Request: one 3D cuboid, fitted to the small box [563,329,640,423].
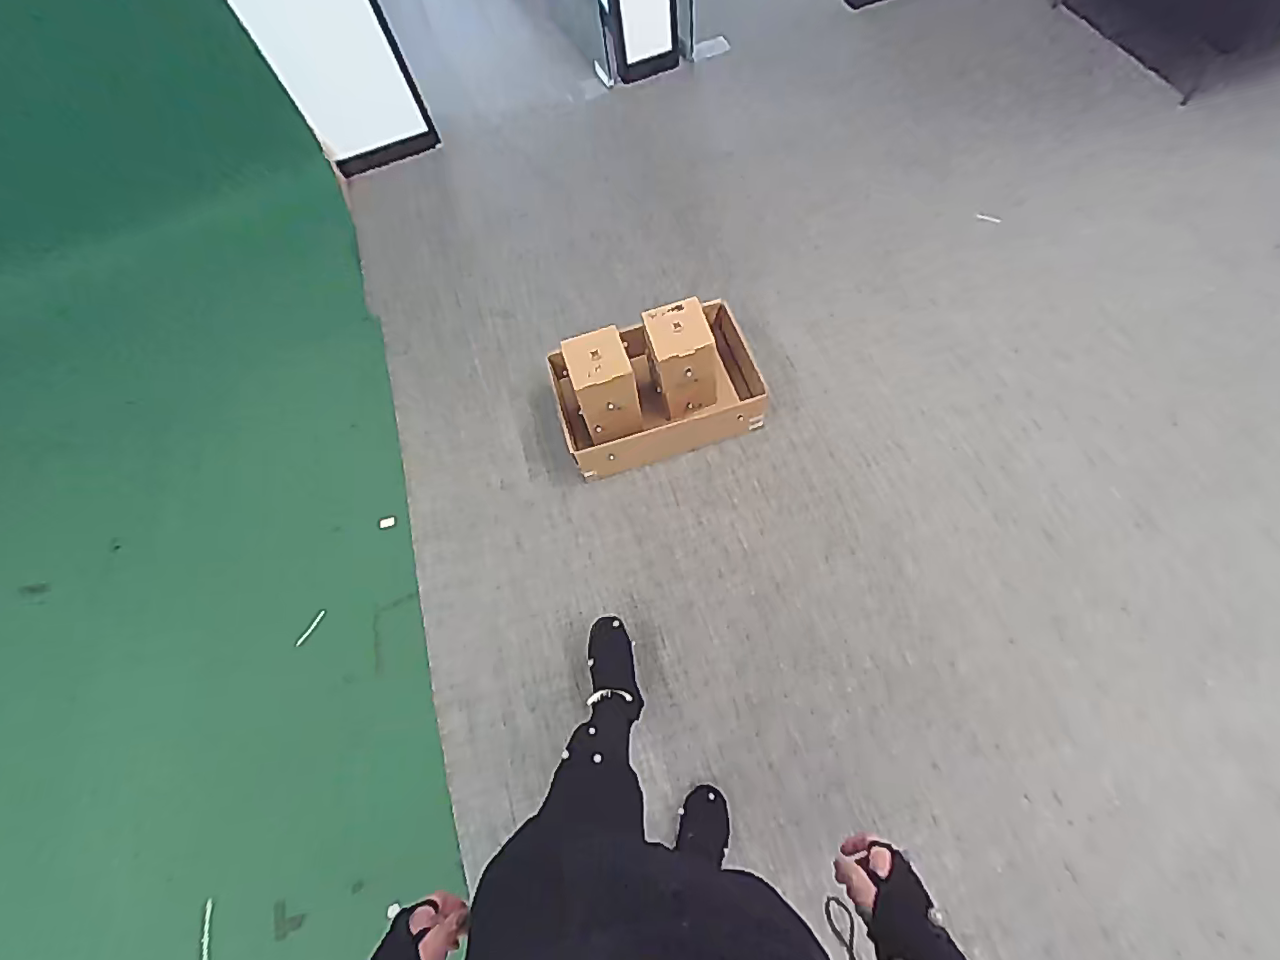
[{"bbox_3d":[-0.107,-0.292,1.540,0.168,0.176,0.179,-18,64,-2],"label":"small box"}]
